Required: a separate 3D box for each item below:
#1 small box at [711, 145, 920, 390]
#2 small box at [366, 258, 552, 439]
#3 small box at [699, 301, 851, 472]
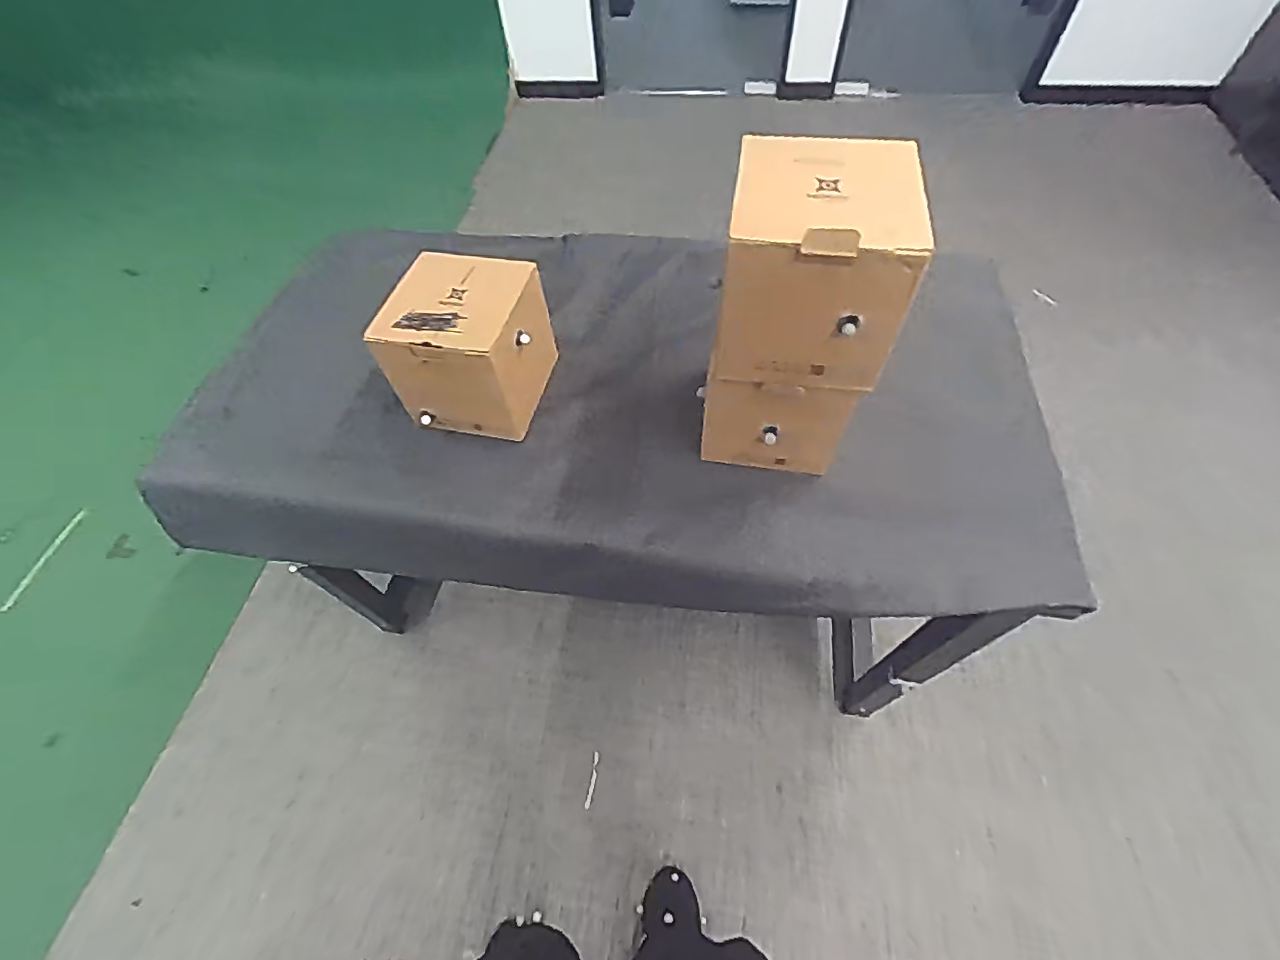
[{"bbox_3d":[0.166,-0.214,0.558,0.168,0.176,0.179,7,56,7],"label":"small box"},{"bbox_3d":[-0.232,-0.179,0.752,0.168,0.176,0.179,9,57,9],"label":"small box"},{"bbox_3d":[0.168,-0.129,0.697,0.168,0.176,0.179,8,58,8],"label":"small box"}]
